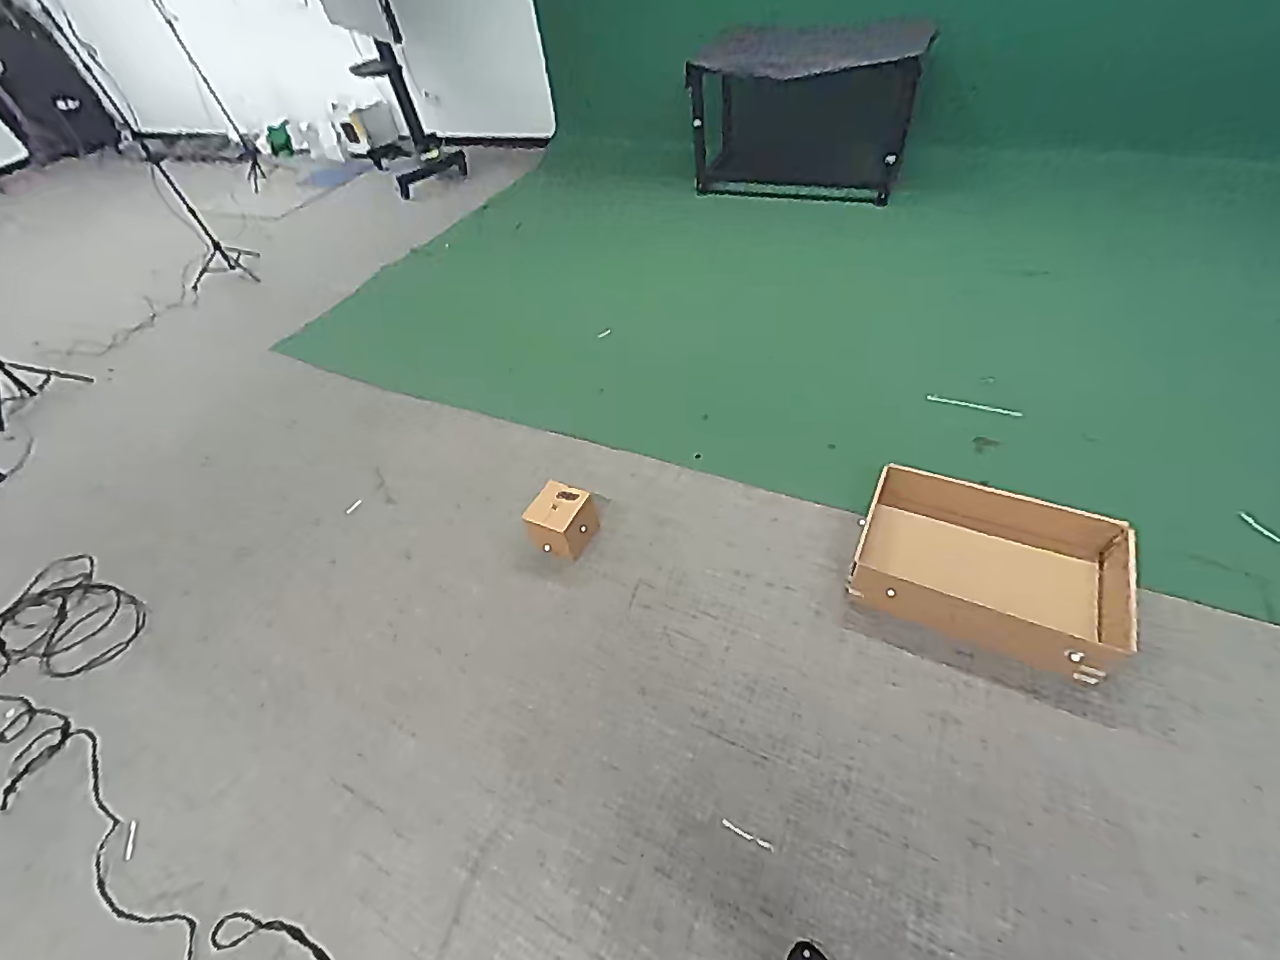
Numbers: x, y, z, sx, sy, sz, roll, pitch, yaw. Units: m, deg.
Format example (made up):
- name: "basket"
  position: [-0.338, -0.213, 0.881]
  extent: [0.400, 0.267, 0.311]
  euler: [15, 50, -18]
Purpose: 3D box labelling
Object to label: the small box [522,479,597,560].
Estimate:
- name: "small box"
  position: [-0.256, 0.131, 1.779]
  extent: [0.168, 0.176, 0.179]
  euler: [17, 55, 23]
